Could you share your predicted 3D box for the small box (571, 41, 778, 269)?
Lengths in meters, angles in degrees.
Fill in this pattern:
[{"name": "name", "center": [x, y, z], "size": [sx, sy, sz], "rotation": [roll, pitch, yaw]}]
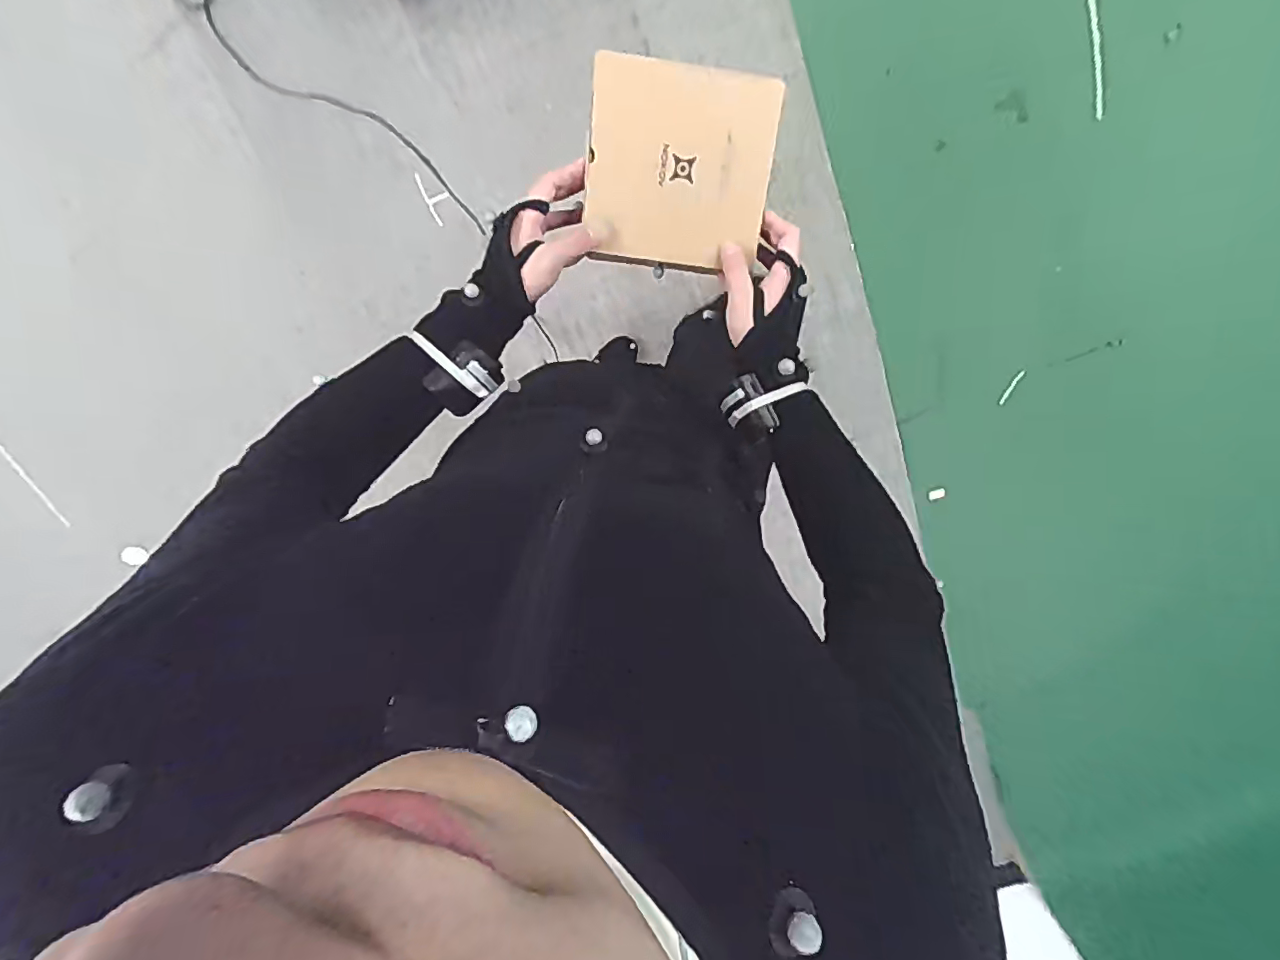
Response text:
[{"name": "small box", "center": [0.026, -0.323, 0.577], "size": [0.179, 0.176, 0.168], "rotation": [5, 109, -5]}]
